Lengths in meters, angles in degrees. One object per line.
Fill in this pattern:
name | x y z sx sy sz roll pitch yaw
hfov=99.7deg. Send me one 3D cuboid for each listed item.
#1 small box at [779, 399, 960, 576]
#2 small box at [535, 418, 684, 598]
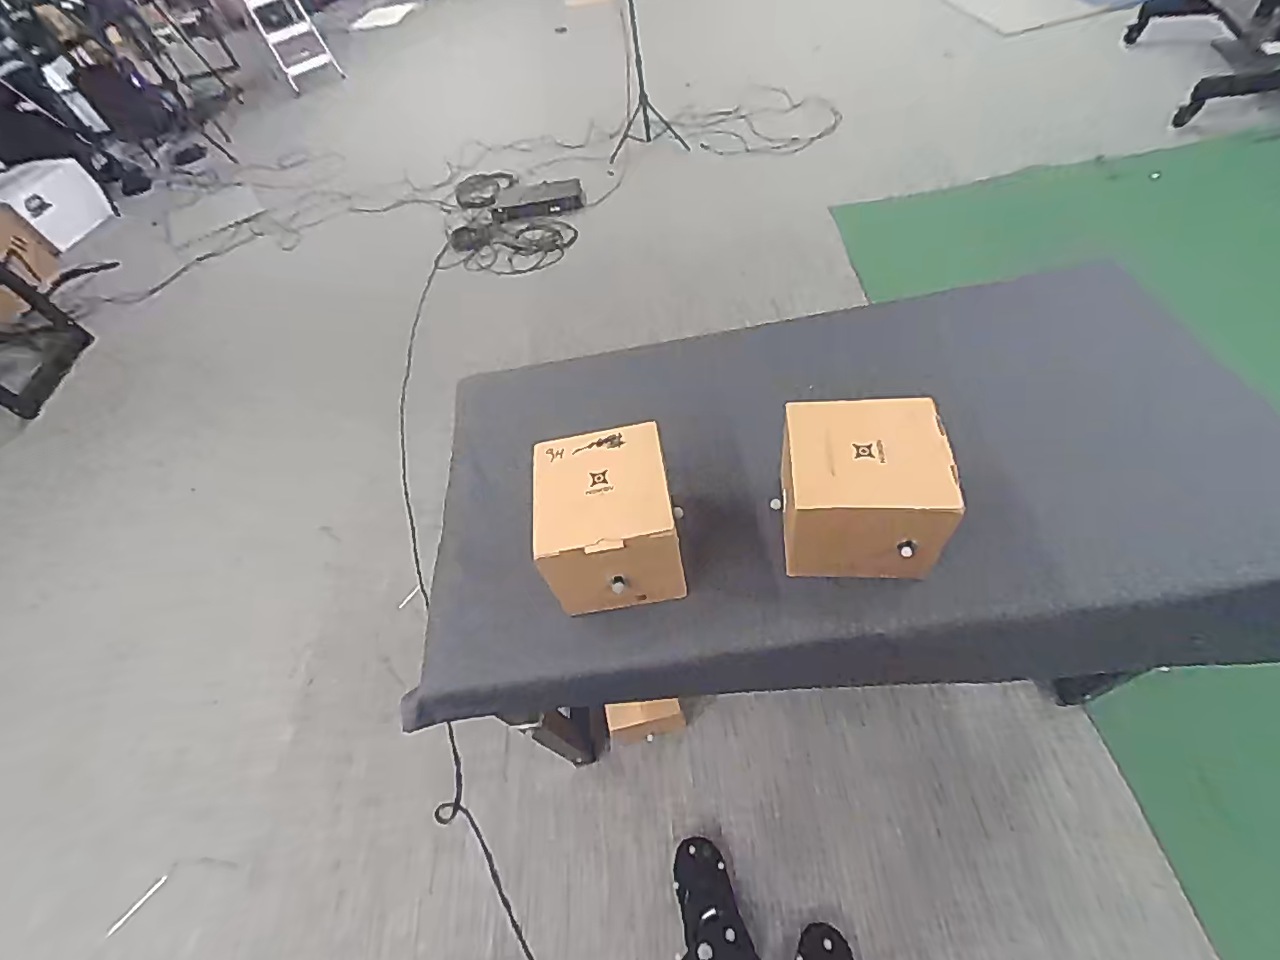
small box | 0.277 0.014 0.698 0.179 0.176 0.168 -1 54 11
small box | -0.036 0.047 0.728 0.168 0.176 0.179 -9 54 3
